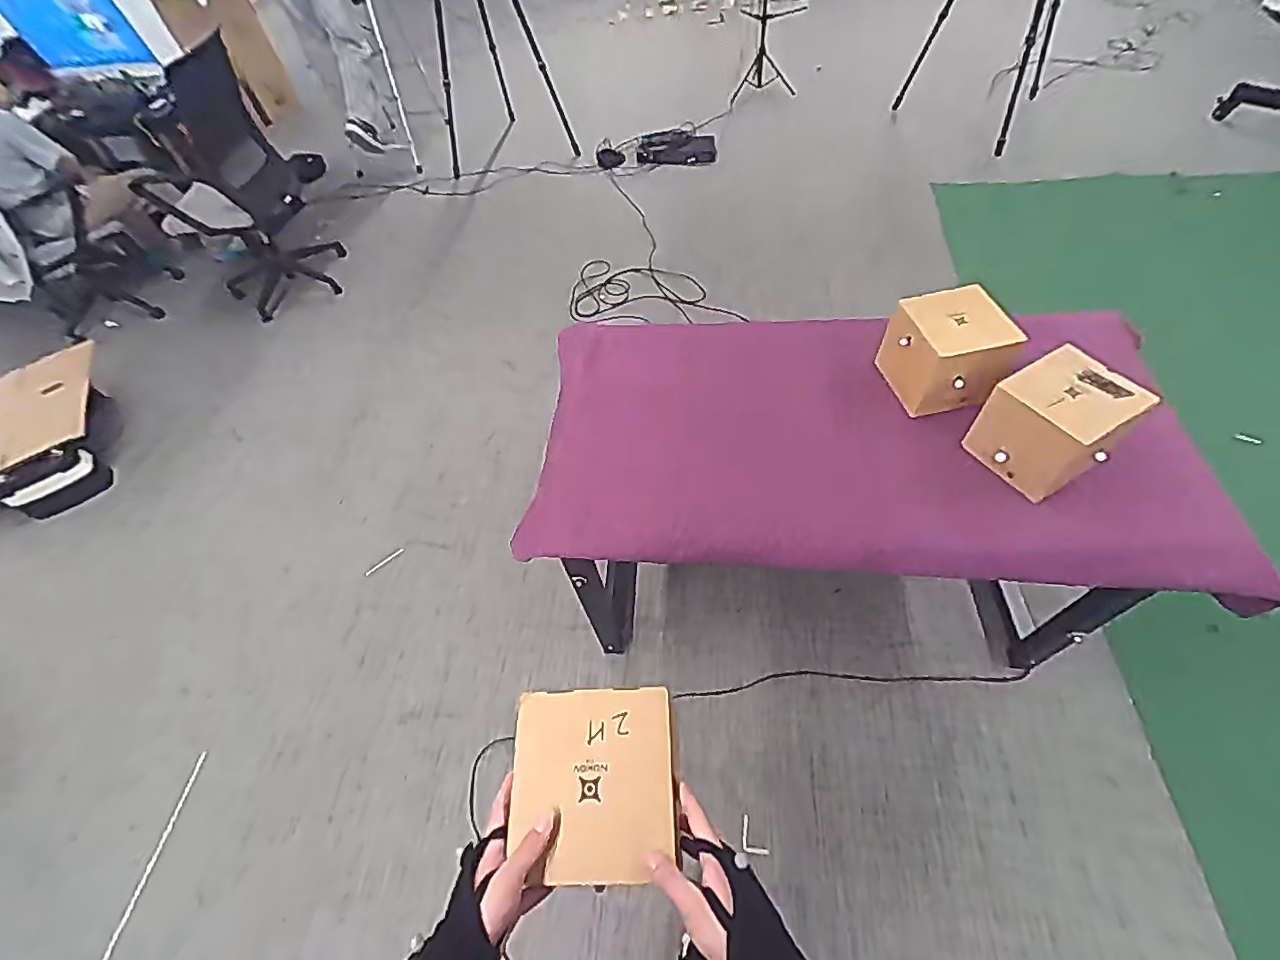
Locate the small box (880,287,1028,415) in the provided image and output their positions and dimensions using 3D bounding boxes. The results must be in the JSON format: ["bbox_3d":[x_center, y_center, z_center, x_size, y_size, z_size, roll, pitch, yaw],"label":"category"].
[{"bbox_3d":[0.606,-0.246,1.070,0.168,0.176,0.179,-11,54,-1],"label":"small box"}]

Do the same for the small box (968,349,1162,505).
[{"bbox_3d":[0.721,-0.089,0.943,0.179,0.176,0.168,-27,56,-11],"label":"small box"}]
